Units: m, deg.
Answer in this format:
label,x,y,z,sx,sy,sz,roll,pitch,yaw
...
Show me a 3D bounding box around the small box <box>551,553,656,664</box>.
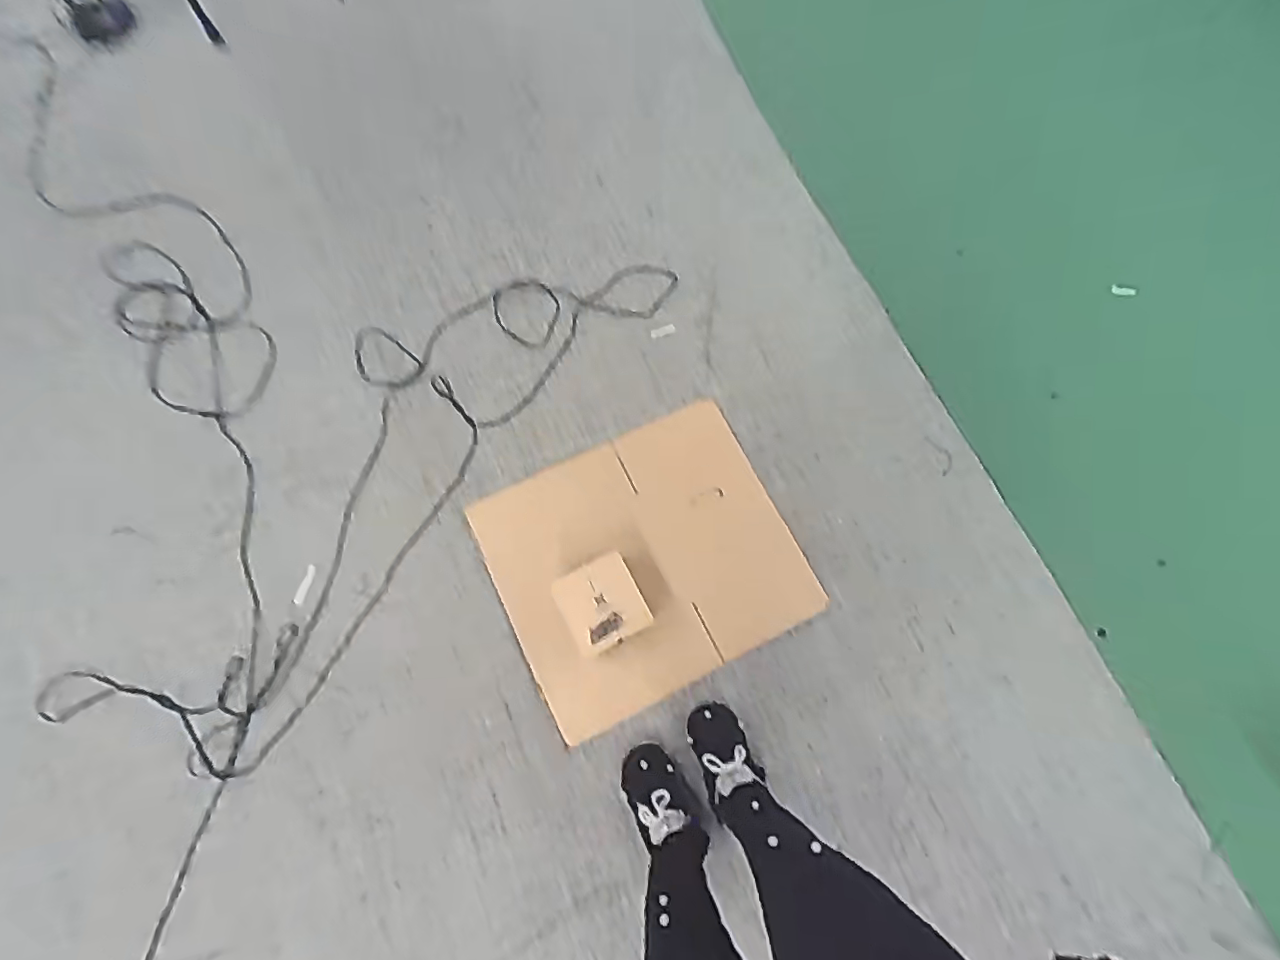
label,x,y,z,sx,sy,sz,roll,pitch,yaw
small box,-0.076,0.283,1.194,0.168,0.176,0.179,-27,77,-9
